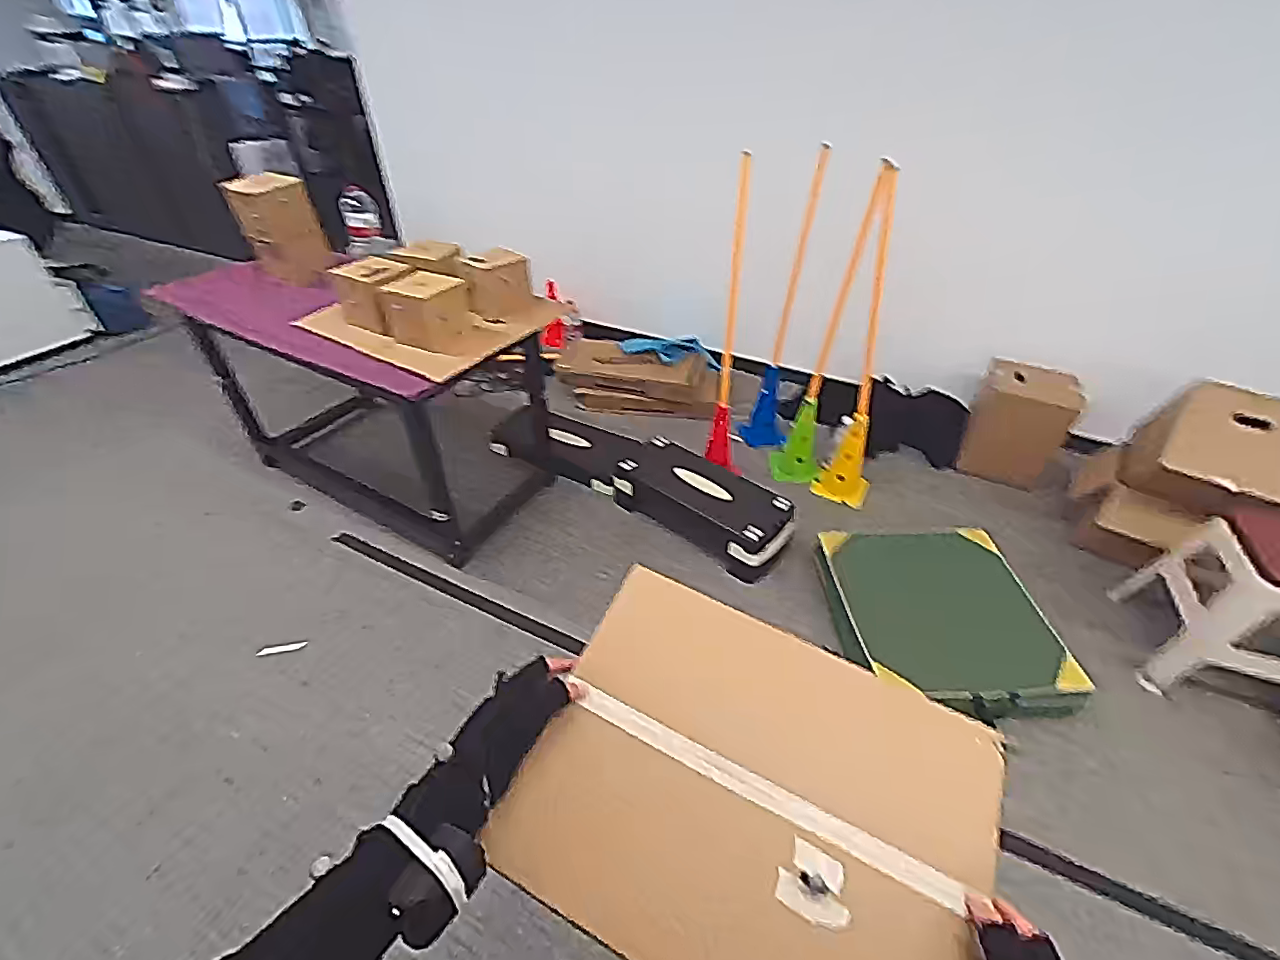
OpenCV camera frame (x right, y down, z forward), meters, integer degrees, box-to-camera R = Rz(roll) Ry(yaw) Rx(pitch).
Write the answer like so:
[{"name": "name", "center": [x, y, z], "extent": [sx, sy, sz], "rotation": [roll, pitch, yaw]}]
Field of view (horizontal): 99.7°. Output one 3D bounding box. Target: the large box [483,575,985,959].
[{"name": "large box", "center": [0.097, 0.379, 0.624], "extent": [0.408, 0.320, 0.320], "rotation": [23, 55, 15]}]
